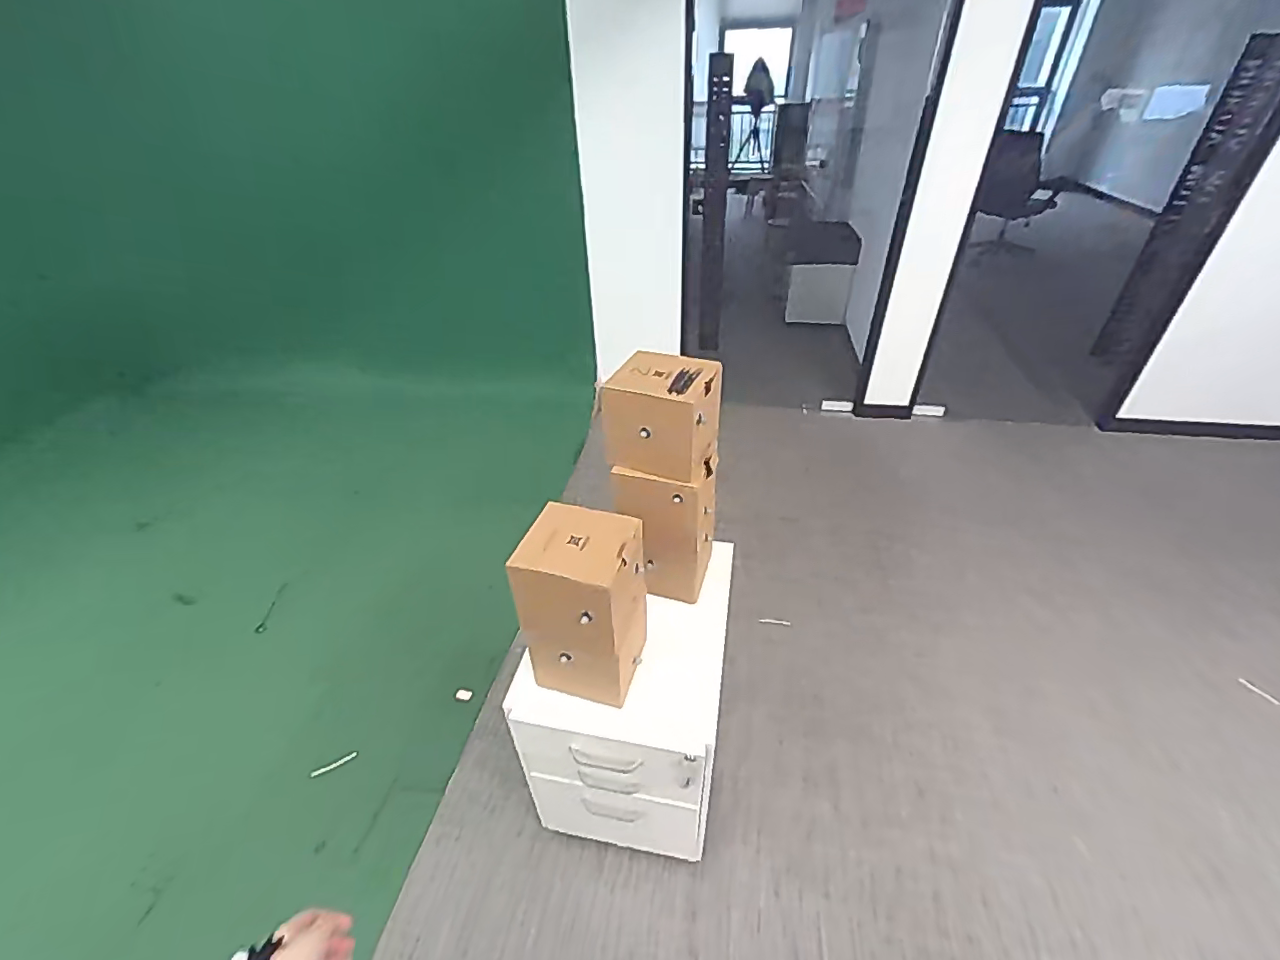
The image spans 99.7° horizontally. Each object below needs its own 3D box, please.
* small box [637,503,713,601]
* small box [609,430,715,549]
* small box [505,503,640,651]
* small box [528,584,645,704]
[{"bbox_3d":[0.058,0.148,1.210,0.179,0.176,0.168,10,40,16],"label":"small box"},{"bbox_3d":[0.049,0.020,1.110,0.179,0.176,0.168,10,39,15],"label":"small box"},{"bbox_3d":[-0.103,0.166,0.923,0.179,0.176,0.168,9,37,14],"label":"small box"},{"bbox_3d":[-0.097,0.294,1.022,0.179,0.176,0.168,11,38,14],"label":"small box"}]
